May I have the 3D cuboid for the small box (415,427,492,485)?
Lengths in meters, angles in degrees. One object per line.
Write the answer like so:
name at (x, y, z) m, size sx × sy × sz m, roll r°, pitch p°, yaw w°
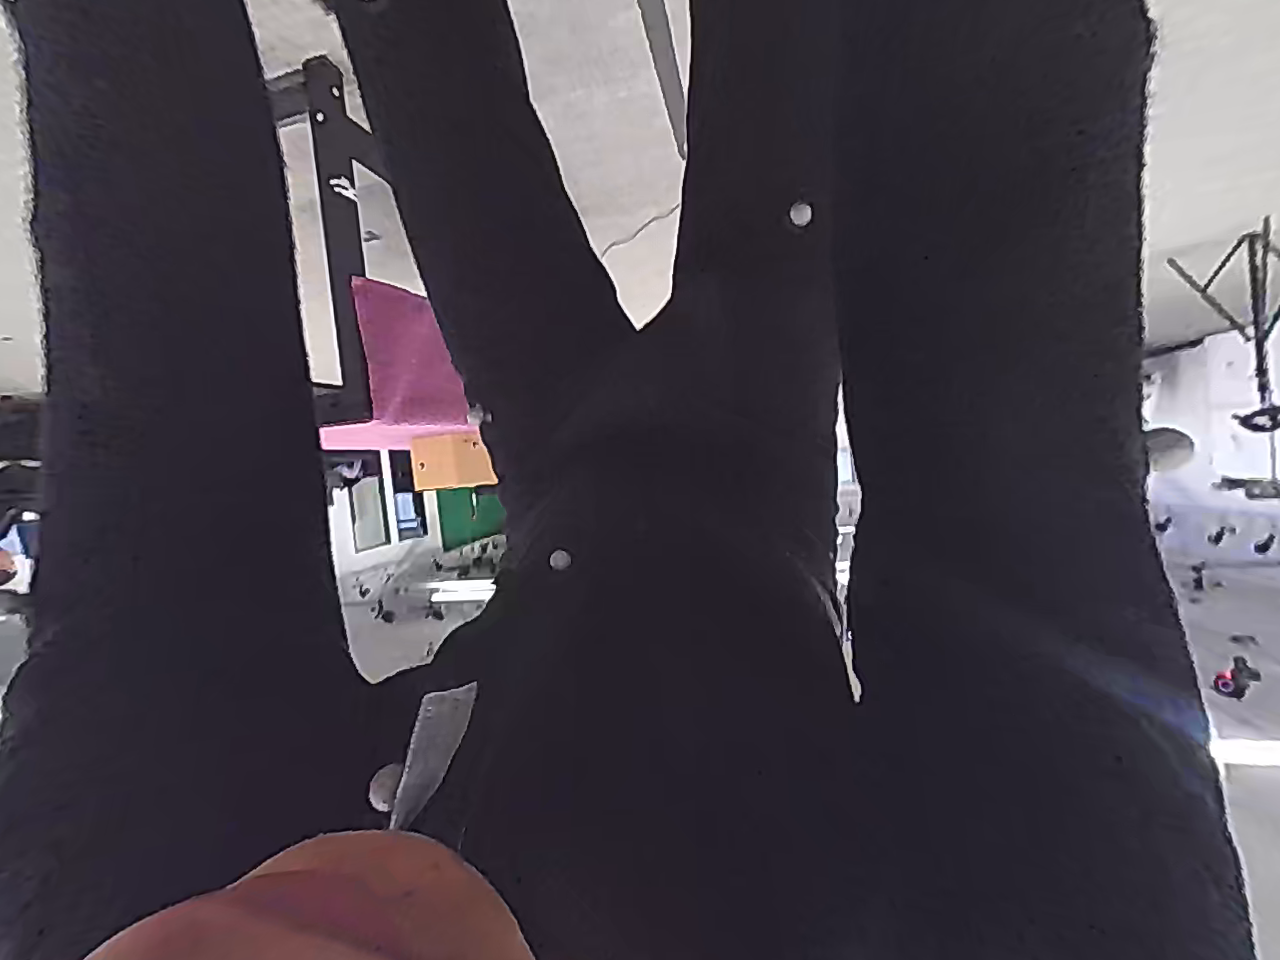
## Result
small box at (-0.605, -0.078, 1.749) m, size 0.179 × 0.176 × 0.168 m, roll -5°, pitch -176°, yaw 24°
